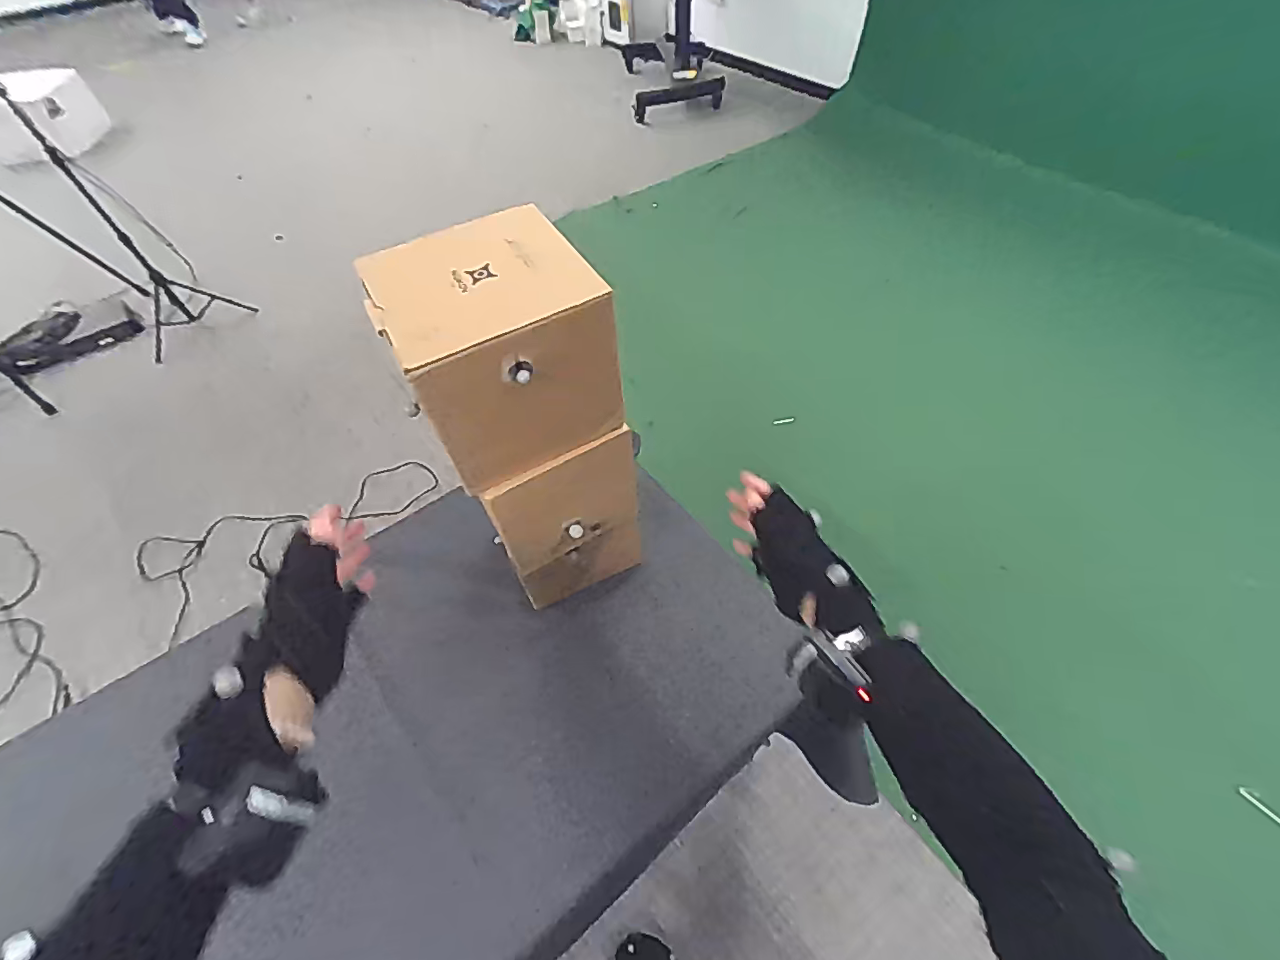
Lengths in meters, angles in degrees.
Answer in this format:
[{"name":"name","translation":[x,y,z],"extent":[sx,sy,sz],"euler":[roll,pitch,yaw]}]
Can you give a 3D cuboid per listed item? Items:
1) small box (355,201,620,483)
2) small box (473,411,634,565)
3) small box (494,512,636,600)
[{"name":"small box","translation":[-0.132,-0.126,0.515],"extent":[0.179,0.176,0.168],"euler":[-26,58,-15]},{"name":"small box","translation":[-0.120,-0.032,0.647],"extent":[0.168,0.176,0.179],"euler":[-28,58,-16]},{"name":"small box","translation":[-0.116,0.048,0.792],"extent":[0.179,0.176,0.168],"euler":[-22,57,-13]}]
